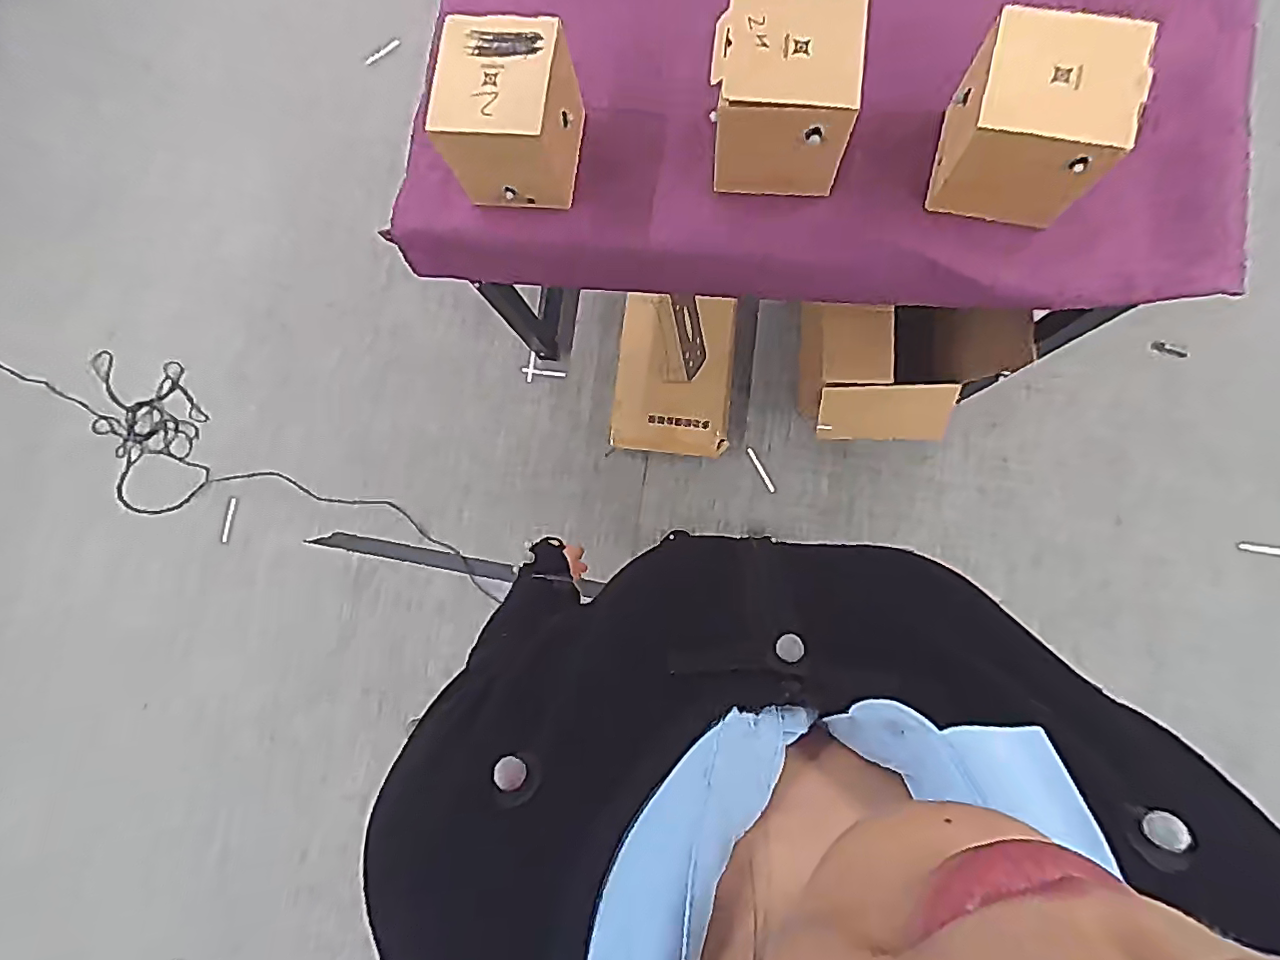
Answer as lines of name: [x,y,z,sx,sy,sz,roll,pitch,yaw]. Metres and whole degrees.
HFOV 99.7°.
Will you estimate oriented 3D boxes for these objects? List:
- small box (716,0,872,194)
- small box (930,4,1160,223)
small box: [0.204,-0.529,0.756,0.179,0.176,0.168,6,82,7]
small box: [0.515,-0.470,0.715,0.179,0.176,0.168,14,85,8]
